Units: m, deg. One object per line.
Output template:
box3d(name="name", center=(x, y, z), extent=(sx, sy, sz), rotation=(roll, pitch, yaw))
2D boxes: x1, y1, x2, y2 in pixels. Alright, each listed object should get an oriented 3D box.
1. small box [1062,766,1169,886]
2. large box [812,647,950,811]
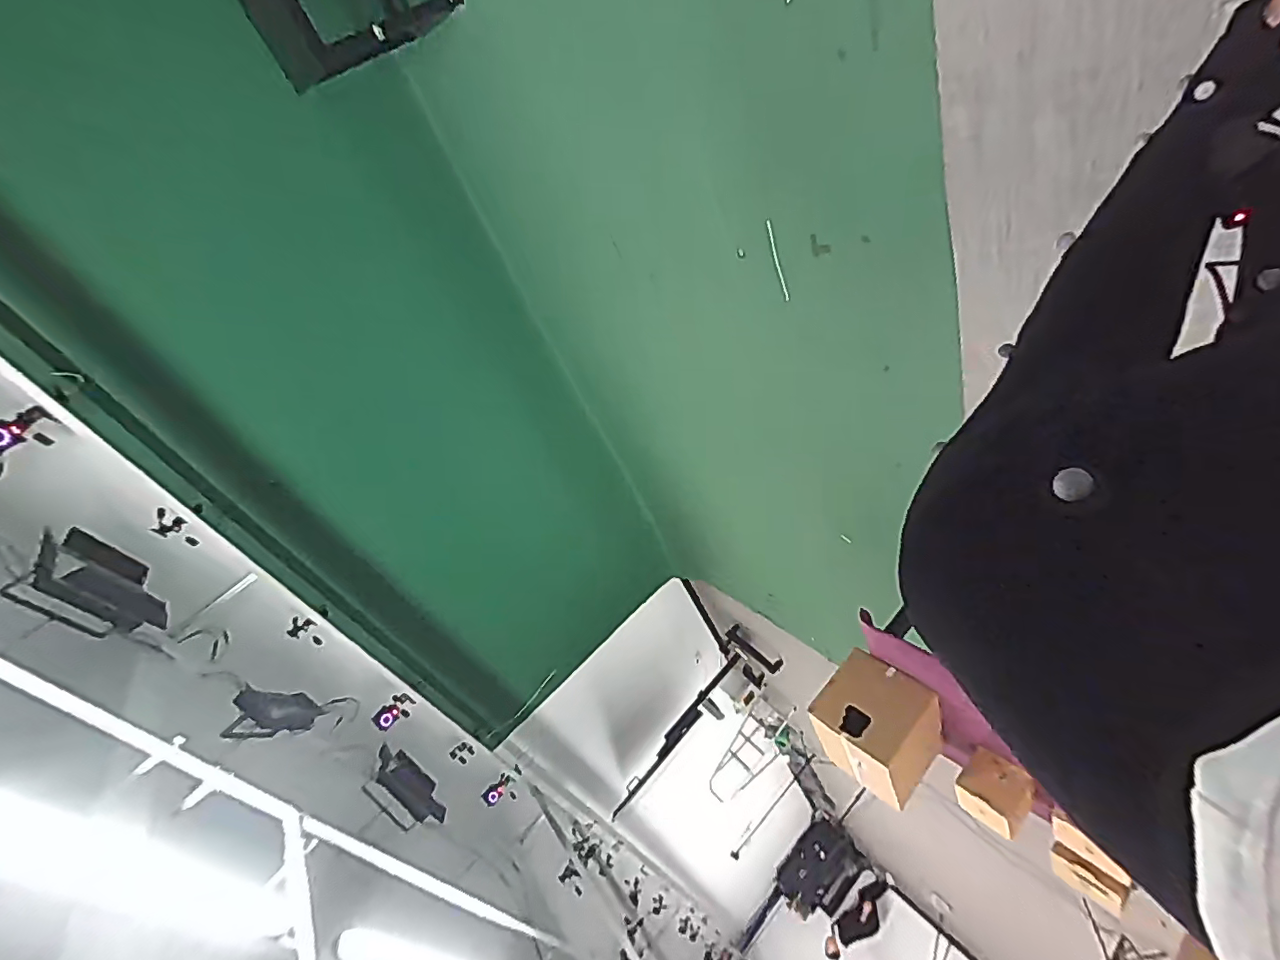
box3d(name="small box", center=(1.226, 0.888, 1.398), extent=(0.168, 0.176, 0.179), rotation=(22, 150, 51))
box3d(name="large box", center=(0.880, 0.892, 1.956), extent=(0.320, 0.320, 0.408), rotation=(23, 149, 49))
